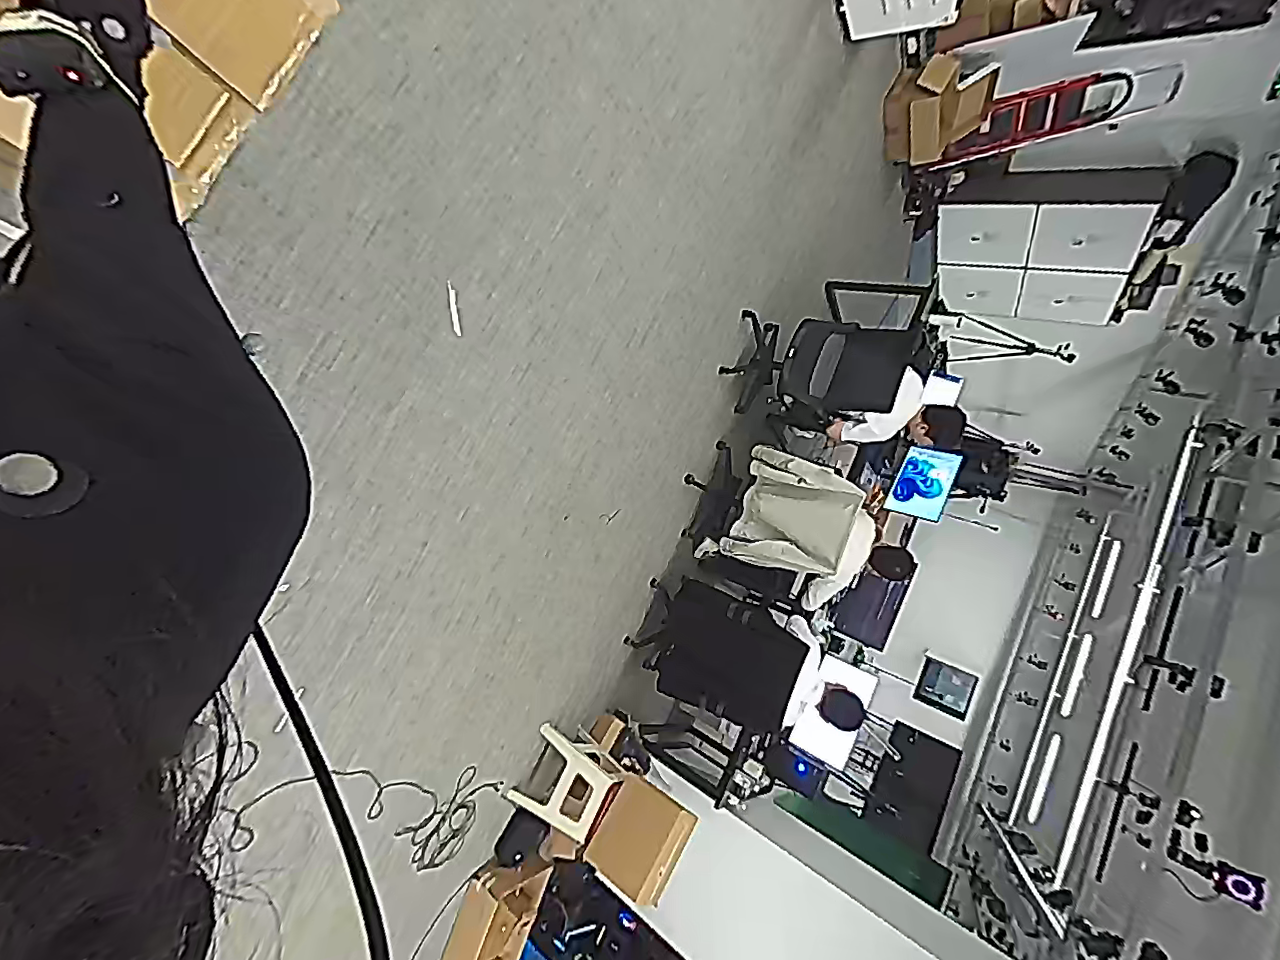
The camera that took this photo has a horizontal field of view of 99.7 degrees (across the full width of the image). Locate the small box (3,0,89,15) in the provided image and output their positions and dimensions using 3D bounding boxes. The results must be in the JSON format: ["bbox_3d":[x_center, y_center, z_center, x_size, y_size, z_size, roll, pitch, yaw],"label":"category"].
[{"bbox_3d":[-0.568,-0.541,0.454,0.179,0.176,0.168,27,85,-57],"label":"small box"}]
